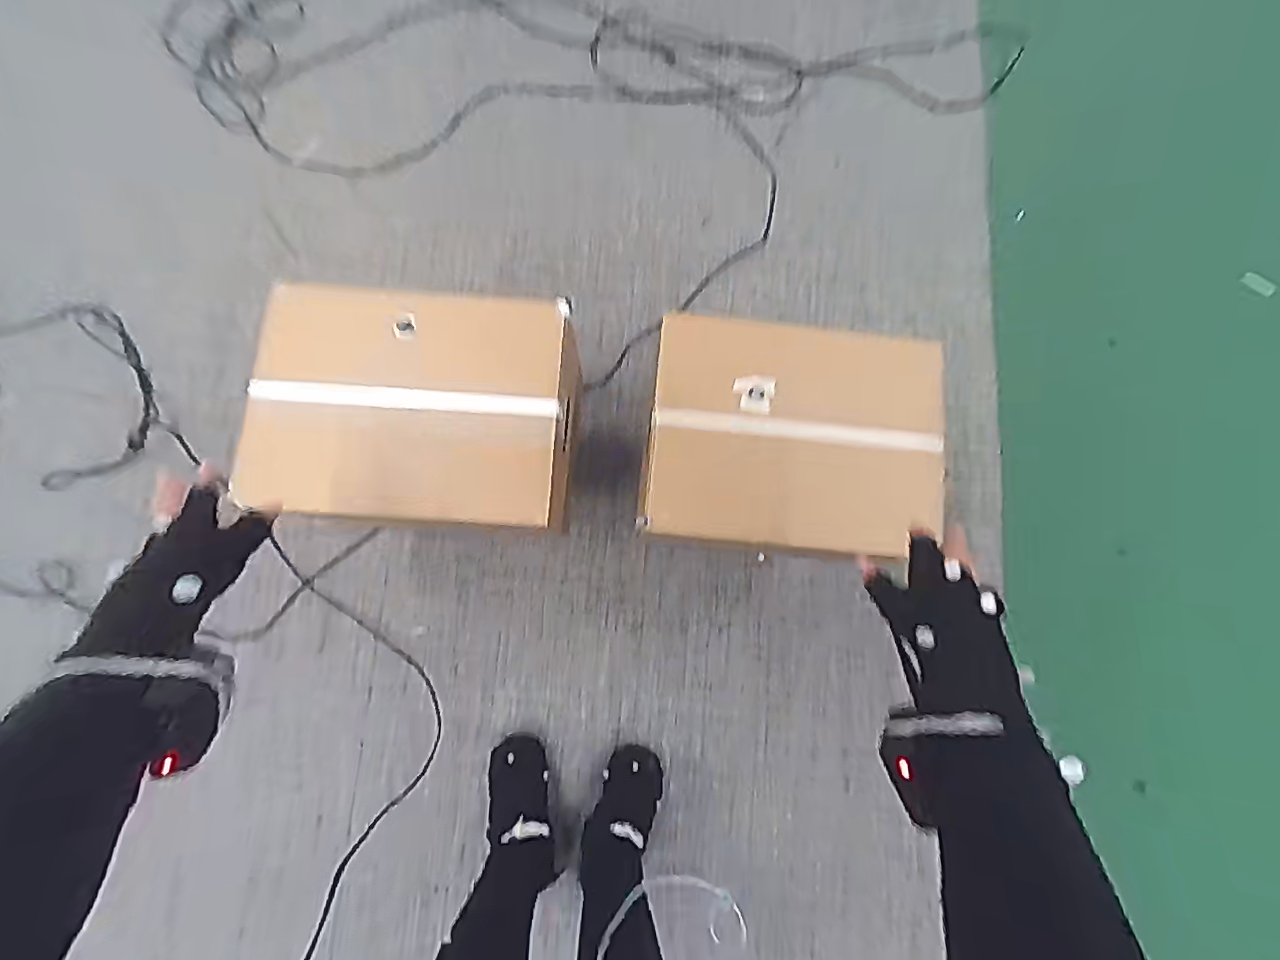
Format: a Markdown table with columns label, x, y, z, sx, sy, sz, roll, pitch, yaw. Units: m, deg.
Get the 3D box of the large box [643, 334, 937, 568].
| label | x | y | z | sx | sy | sz | roll | pitch | yaw |
| --- | --- | --- | --- | --- | --- | --- | --- | --- | --- |
| large box | 0.222 | -0.024 | 0.916 | 0.408 | 0.320 | 0.320 | 6 | 80 | -1 |
